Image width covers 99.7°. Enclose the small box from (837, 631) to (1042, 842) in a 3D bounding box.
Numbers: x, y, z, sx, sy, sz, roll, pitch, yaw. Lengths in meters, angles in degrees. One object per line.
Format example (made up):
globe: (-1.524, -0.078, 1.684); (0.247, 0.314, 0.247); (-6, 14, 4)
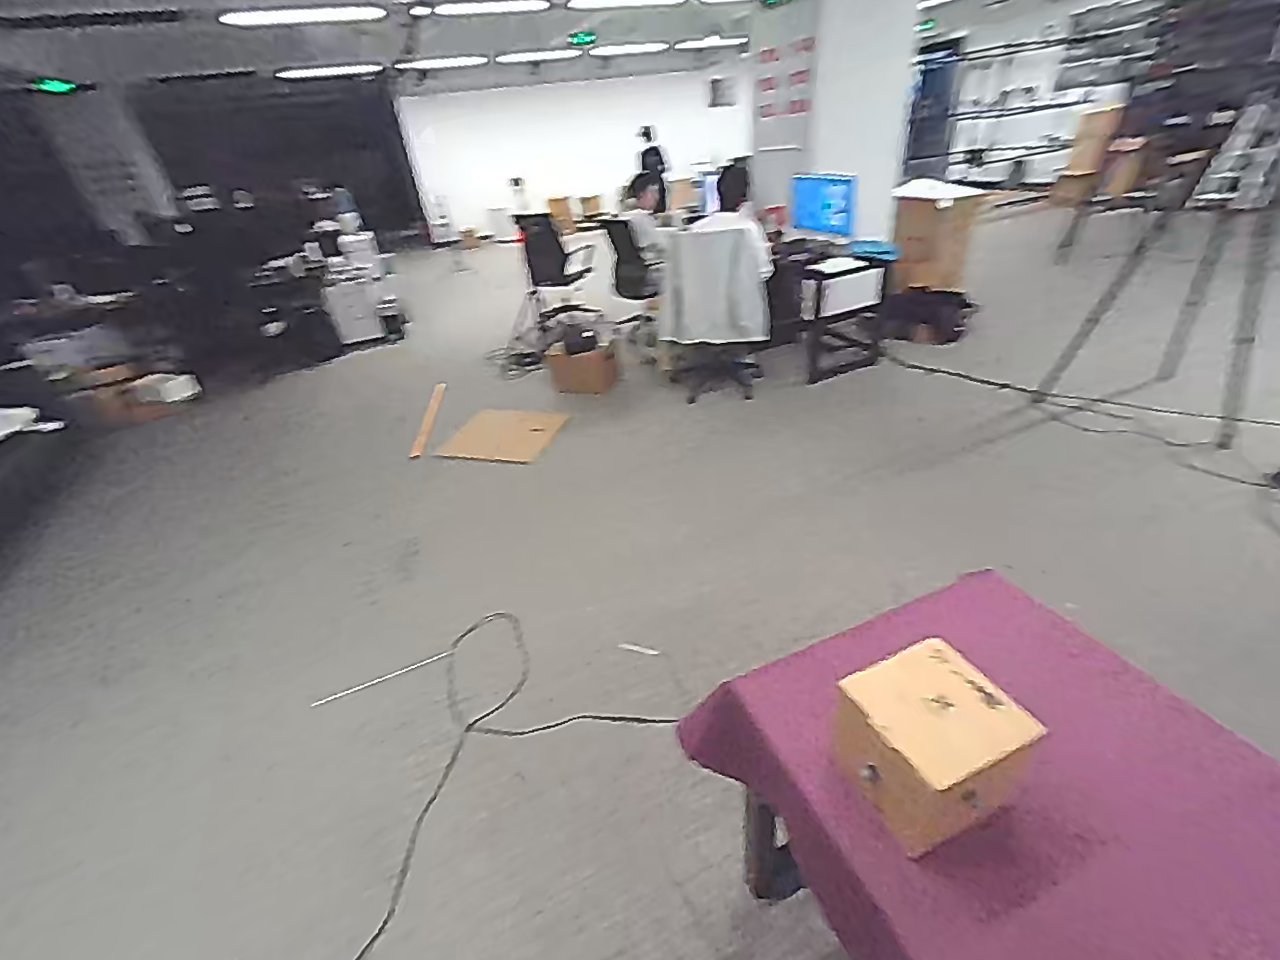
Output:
small box: (0.389, 0.346, 0.736); (0.179, 0.176, 0.168); (-18, 35, -14)
